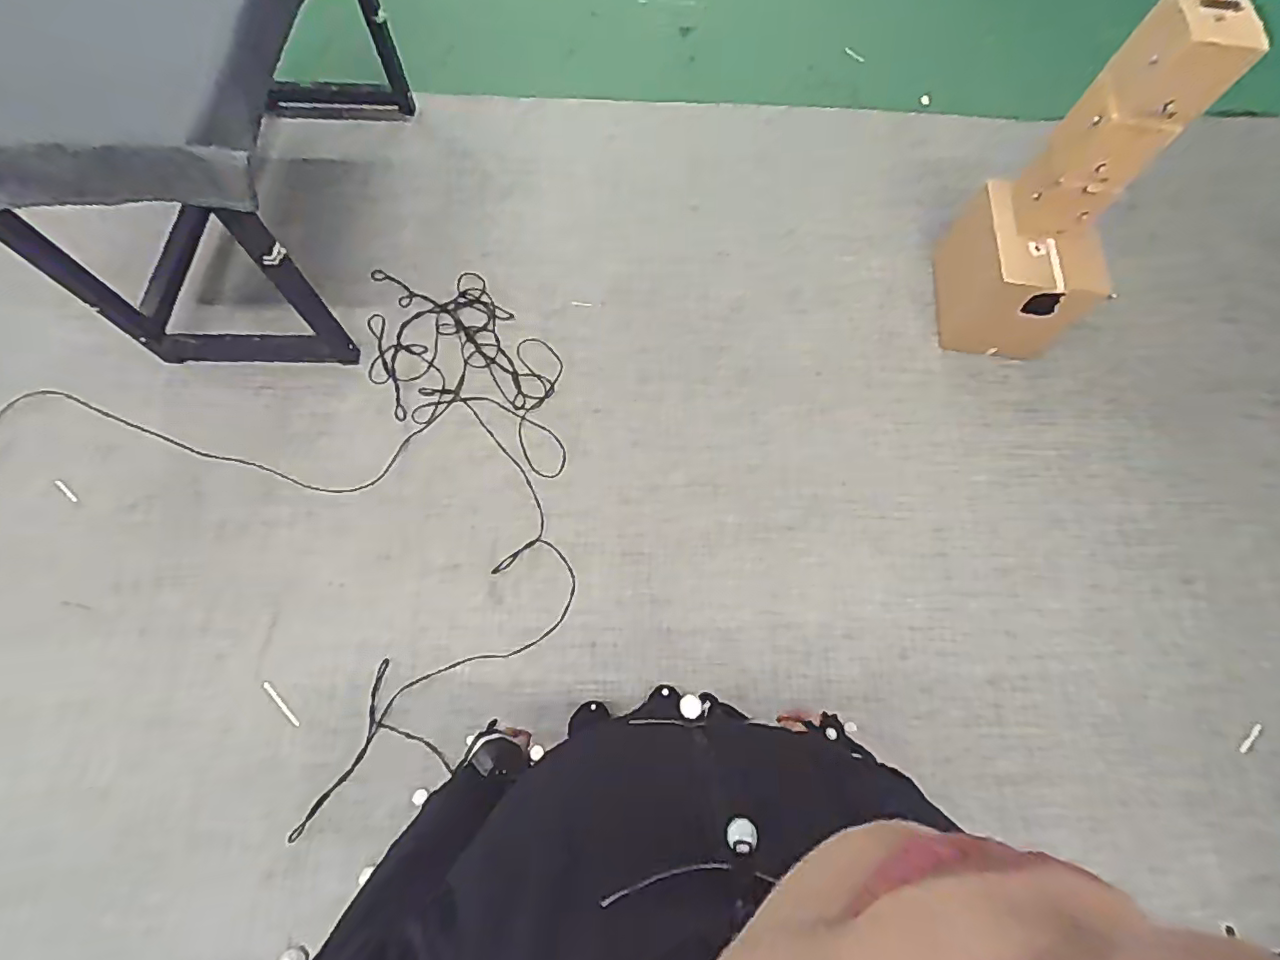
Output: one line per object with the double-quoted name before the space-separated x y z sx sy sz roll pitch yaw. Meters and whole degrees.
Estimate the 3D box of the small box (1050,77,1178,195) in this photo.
"small box" 1.165 -0.852 1.347 0.168 0.176 0.179 9 69 0

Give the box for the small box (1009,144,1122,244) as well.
"small box" 1.165 -0.784 1.495 0.168 0.176 0.179 7 67 -1

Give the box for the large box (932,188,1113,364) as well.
"large box" 1.162 -0.629 1.694 0.320 0.320 0.408 6 69 1
